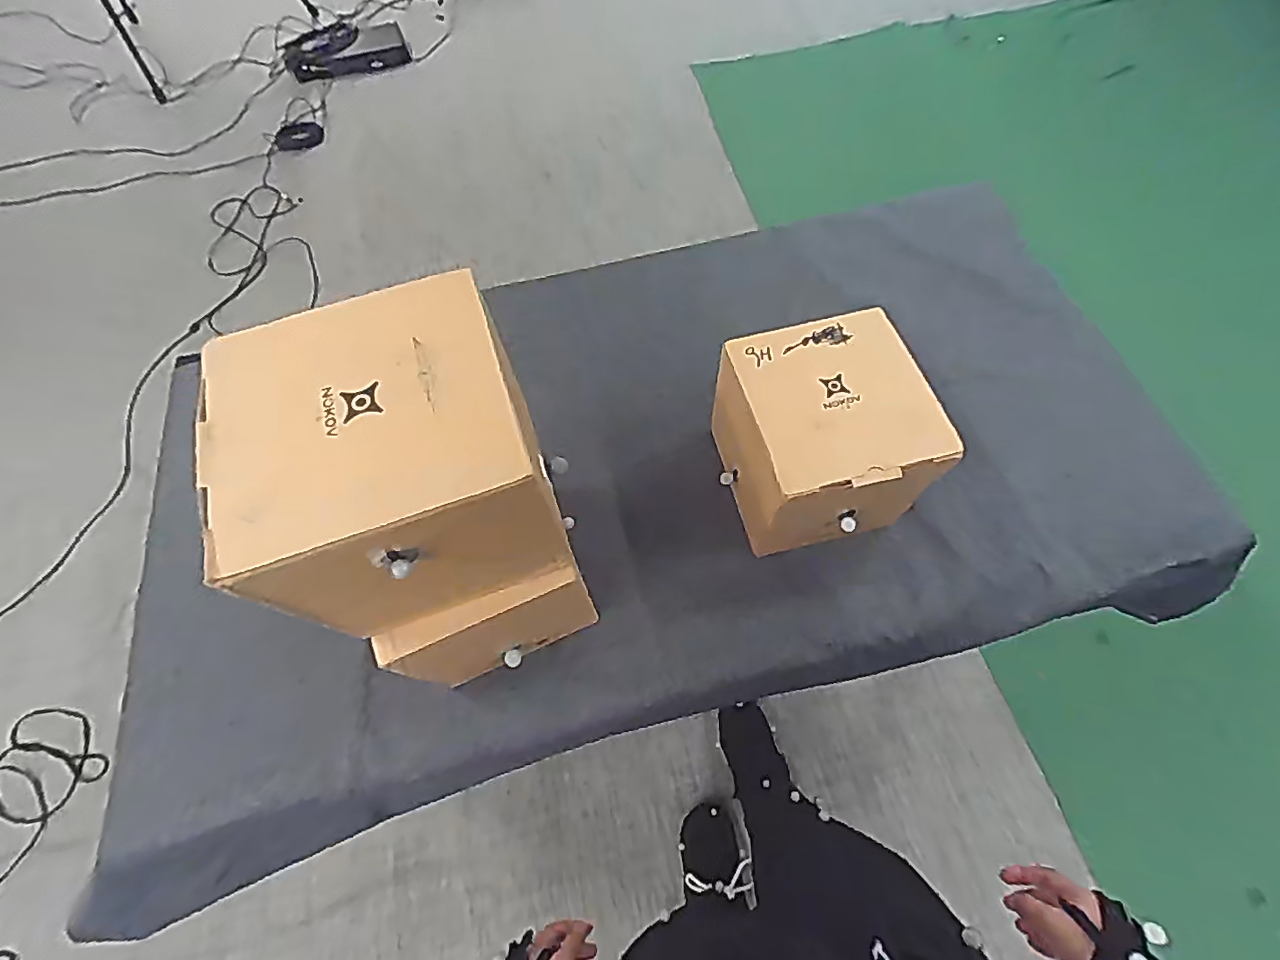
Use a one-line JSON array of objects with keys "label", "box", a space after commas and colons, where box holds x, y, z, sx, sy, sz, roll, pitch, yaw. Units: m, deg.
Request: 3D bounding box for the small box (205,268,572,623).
[{"label": "small box", "box": [-0.162, -0.012, 0.389, 0.179, 0.176, 0.168, -19, 67, -8]}]

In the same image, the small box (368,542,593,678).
[{"label": "small box", "box": [-0.157, 0.073, 0.528, 0.168, 0.176, 0.179, -23, 66, -8]}]

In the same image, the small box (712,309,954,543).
[{"label": "small box", "box": [0.181, -0.044, 0.572, 0.168, 0.176, 0.179, -13, 65, -4]}]
